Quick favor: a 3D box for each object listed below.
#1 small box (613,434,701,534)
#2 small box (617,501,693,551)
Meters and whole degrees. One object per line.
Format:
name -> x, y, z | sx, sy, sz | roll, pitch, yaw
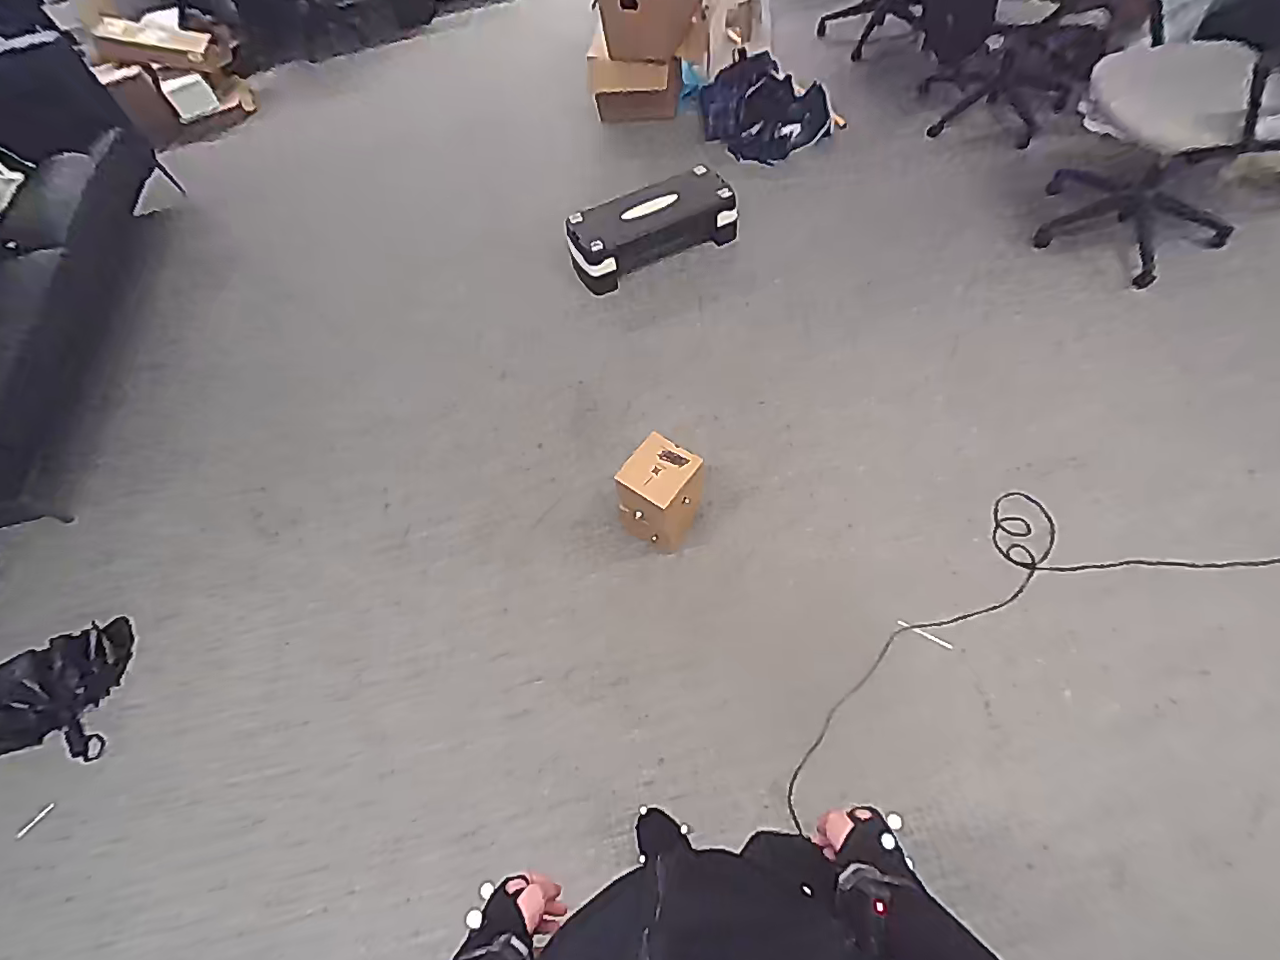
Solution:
small box -> 0.050, 0.014, 1.462 | 0.168, 0.176, 0.179 | 32, 70, 22
small box -> 0.053, 0.086, 1.611 | 0.168, 0.176, 0.179 | 25, 65, 19
